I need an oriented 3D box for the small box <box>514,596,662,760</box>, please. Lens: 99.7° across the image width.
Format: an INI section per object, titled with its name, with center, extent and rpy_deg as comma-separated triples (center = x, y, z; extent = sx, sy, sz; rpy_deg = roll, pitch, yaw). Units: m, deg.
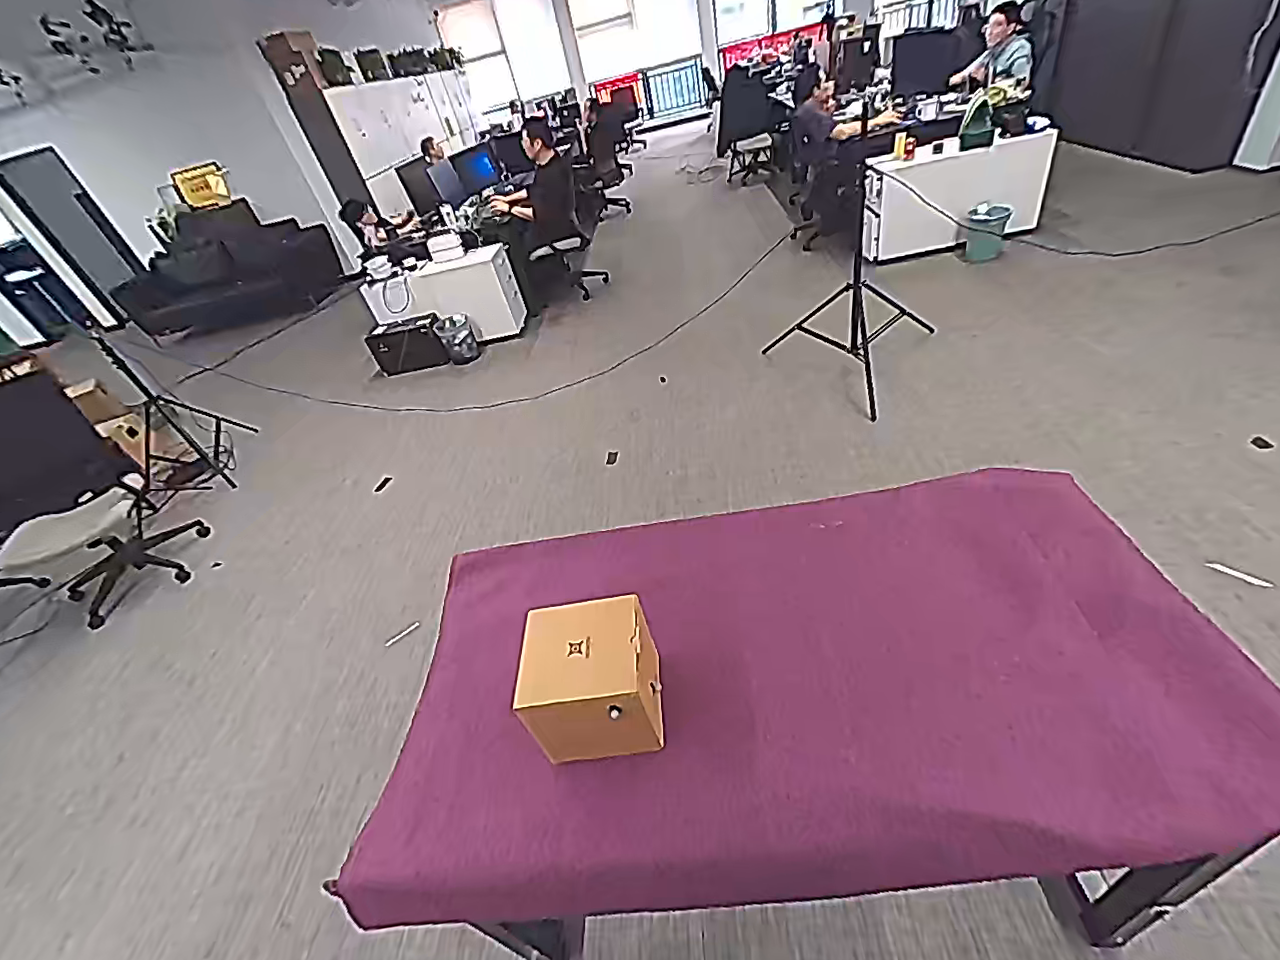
[small box]
center = -0.070, 0.305, 0.825
extent = 0.179, 0.176, 0.168
rpy_deg = -10, 38, 5
